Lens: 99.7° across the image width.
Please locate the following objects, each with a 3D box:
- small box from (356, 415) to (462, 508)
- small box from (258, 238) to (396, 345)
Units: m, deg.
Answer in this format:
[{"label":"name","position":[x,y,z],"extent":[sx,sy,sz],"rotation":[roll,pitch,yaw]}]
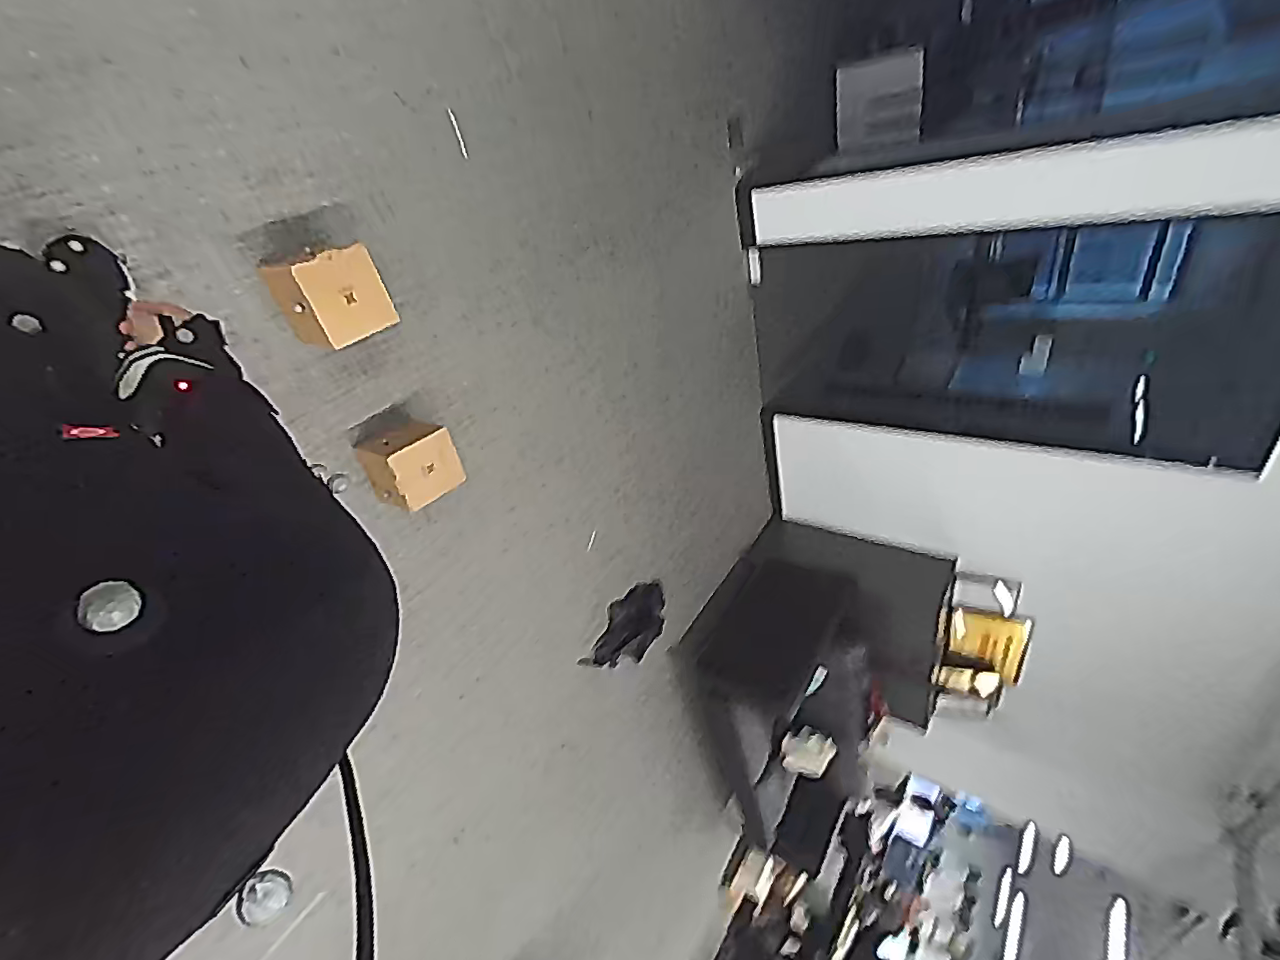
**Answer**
[{"label":"small box","position":[-0.605,-0.055,1.405],"extent":[0.179,0.176,0.168],"rotation":[-42,134,-40]},{"label":"small box","position":[-0.679,-0.413,1.177],"extent":[0.168,0.176,0.179],"rotation":[-44,134,-36]}]
